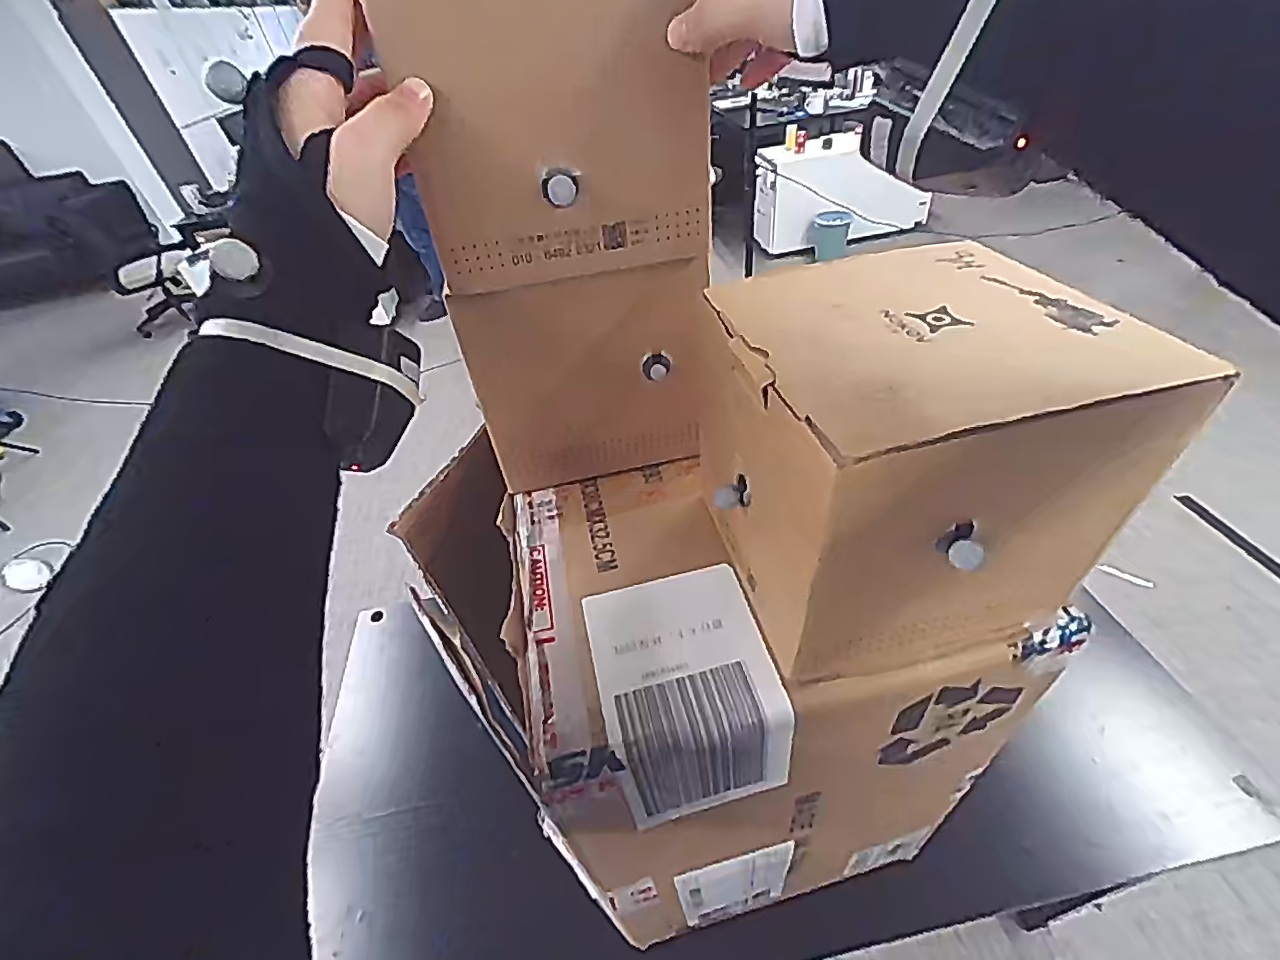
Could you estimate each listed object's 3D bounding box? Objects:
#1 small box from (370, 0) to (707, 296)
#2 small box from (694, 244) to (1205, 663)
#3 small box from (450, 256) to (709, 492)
[{"bbox_3d":[-0.059,-0.238,0.357,0.168,0.176,0.179,-12,39,-6],"label":"small box"},{"bbox_3d":[0.141,-0.015,0.325,0.179,0.176,0.168,-13,44,-6],"label":"small box"},{"bbox_3d":[-0.046,-0.114,0.465,0.179,0.176,0.168,-13,39,-6],"label":"small box"}]
